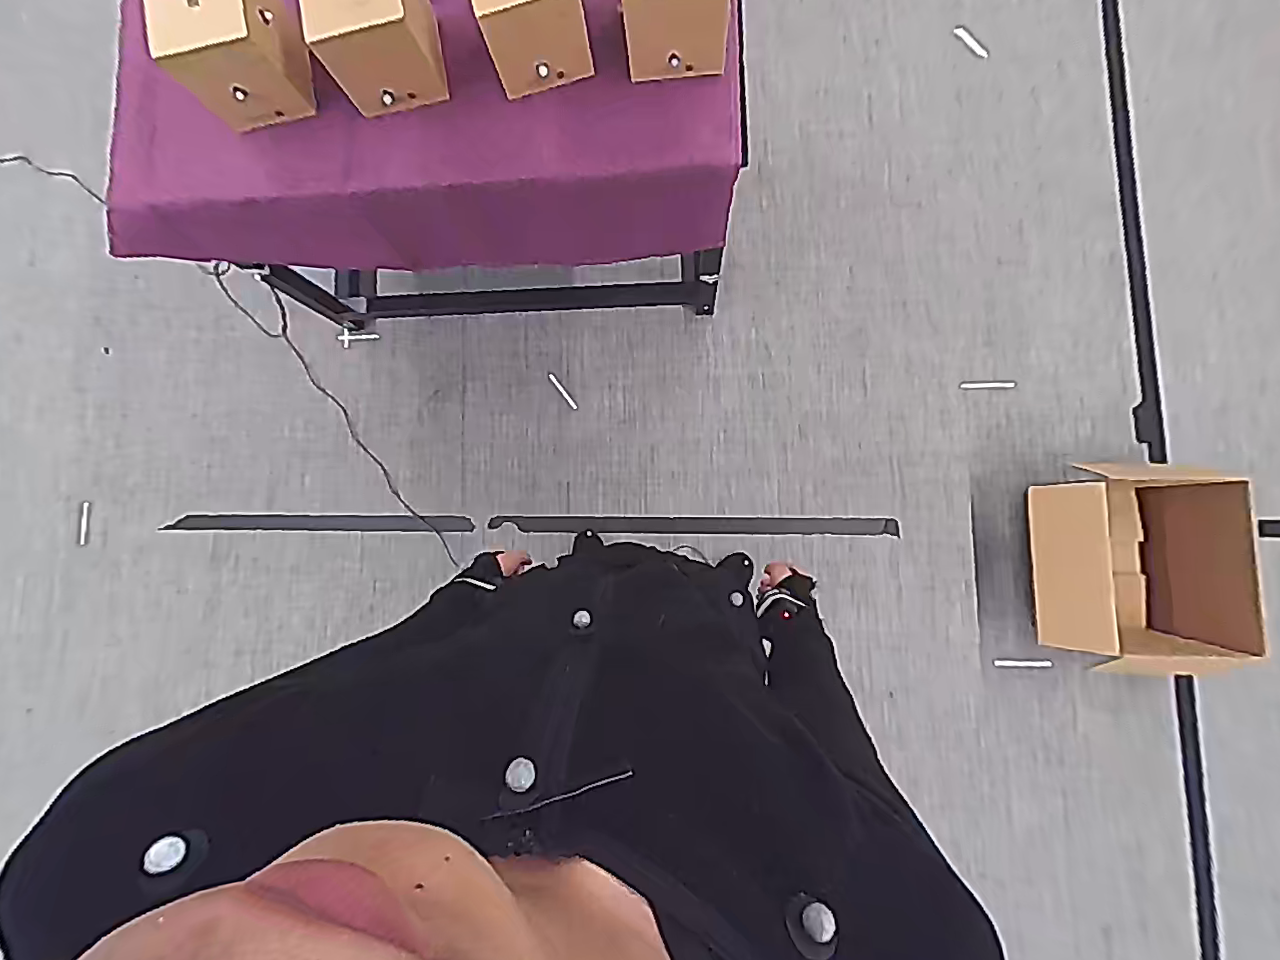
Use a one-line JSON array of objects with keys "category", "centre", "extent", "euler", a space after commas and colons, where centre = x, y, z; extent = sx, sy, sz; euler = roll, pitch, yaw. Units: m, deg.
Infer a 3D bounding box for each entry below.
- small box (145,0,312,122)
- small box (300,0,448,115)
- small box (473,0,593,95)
[{"category": "small box", "centre": [-0.702, -0.761, 0.939], "extent": [0.168, 0.176, 0.179], "euler": [-10, 85, 3]}, {"category": "small box", "centre": [-0.449, -0.777, 0.923], "extent": [0.168, 0.176, 0.179], "euler": [-11, 85, 4]}, {"category": "small box", "centre": [-0.185, -0.802, 0.904], "extent": [0.168, 0.176, 0.179], "euler": [-14, 85, 3]}]
